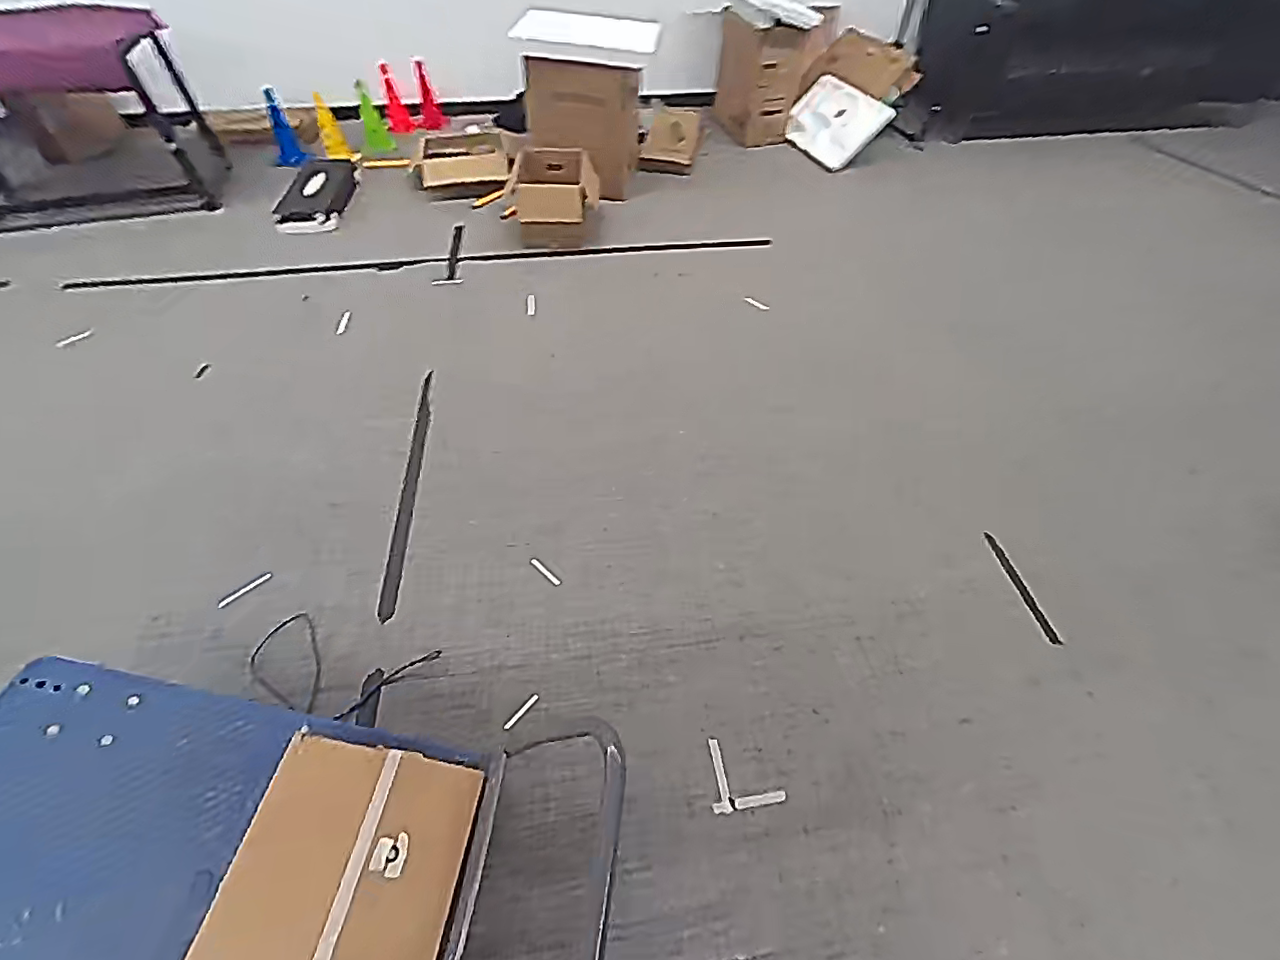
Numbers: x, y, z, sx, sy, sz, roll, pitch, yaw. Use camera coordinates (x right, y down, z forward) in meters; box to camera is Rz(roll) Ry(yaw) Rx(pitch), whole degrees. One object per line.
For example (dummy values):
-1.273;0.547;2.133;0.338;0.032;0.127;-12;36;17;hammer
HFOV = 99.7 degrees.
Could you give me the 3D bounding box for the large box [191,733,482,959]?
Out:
-0.495;0.691;0.894;0.320;0.320;0.408;22;48;-17;large box
